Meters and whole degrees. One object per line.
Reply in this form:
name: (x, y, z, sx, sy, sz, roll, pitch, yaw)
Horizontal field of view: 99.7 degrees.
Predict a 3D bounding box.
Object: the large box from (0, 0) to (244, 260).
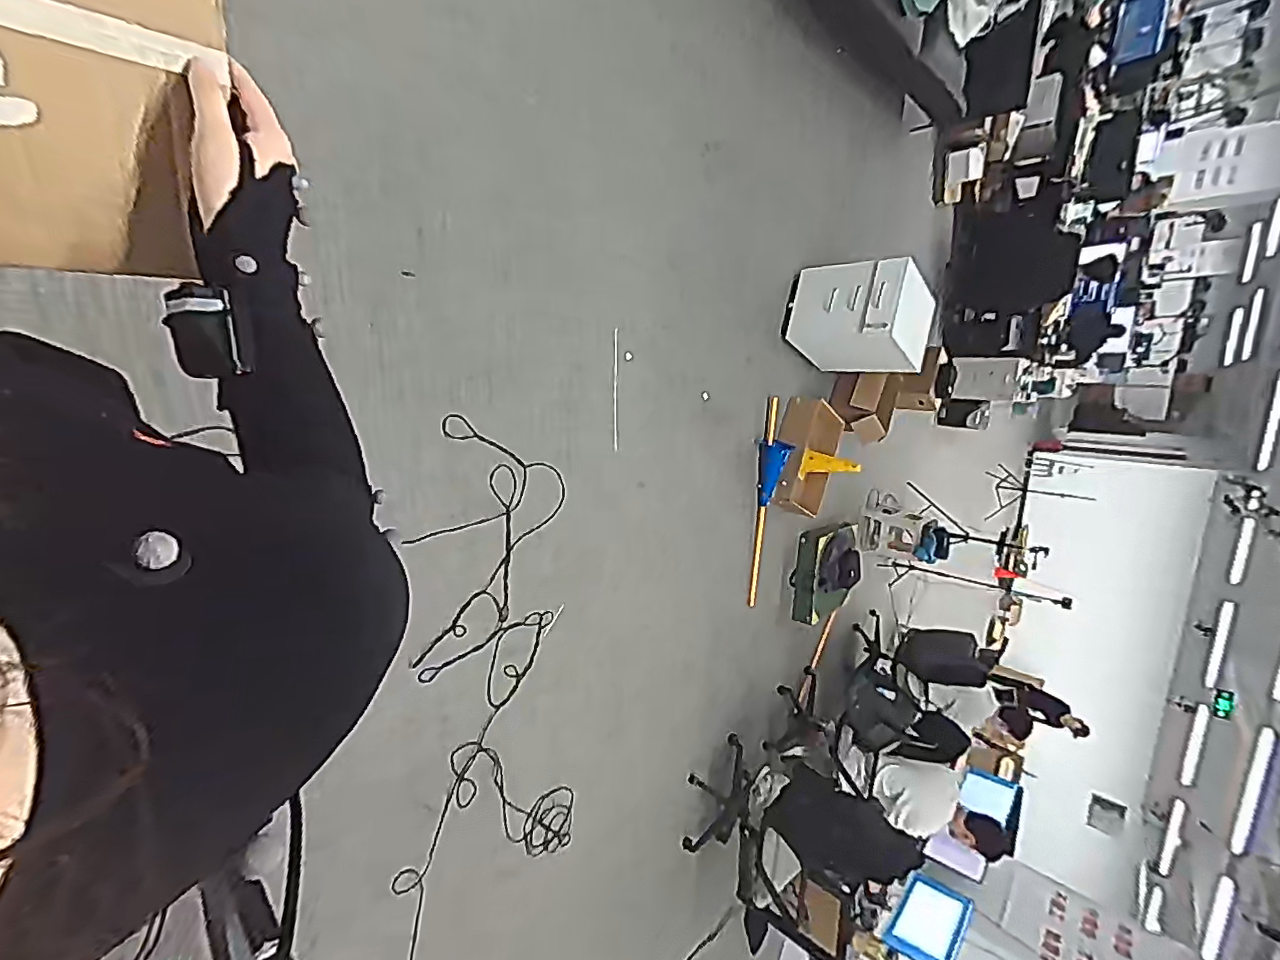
large box: (-0.543, -0.355, 0.335, 0.408, 0.320, 0.320, -16, 134, -46)
